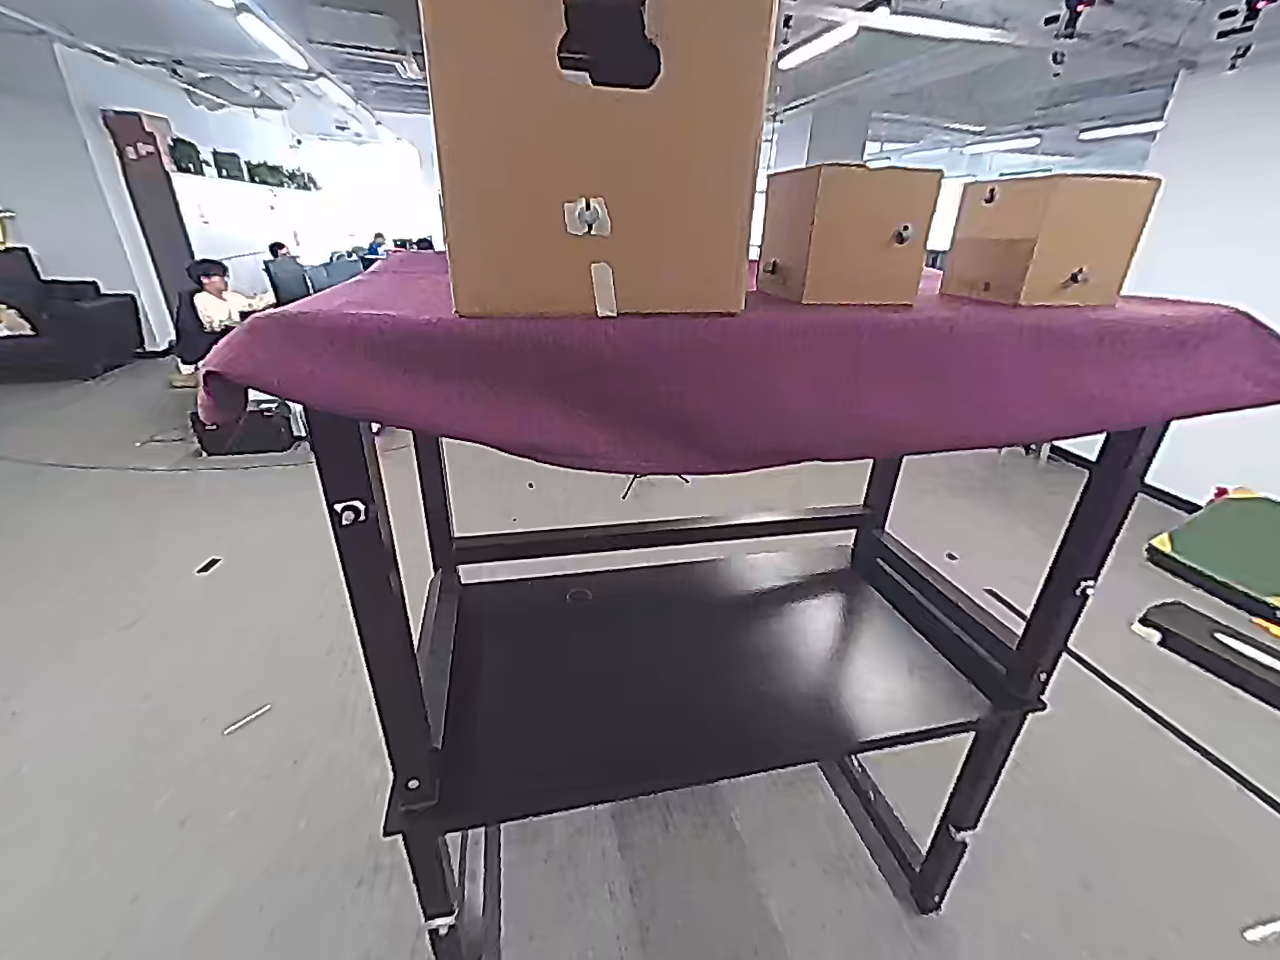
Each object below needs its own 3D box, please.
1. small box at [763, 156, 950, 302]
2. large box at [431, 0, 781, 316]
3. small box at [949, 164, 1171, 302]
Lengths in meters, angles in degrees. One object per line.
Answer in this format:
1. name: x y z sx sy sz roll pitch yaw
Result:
1. small box: 0.291 -0.351 0.768 0.179 0.176 0.168 -4 25 -10
2. large box: -0.067 -0.389 0.671 0.320 0.320 0.408 -4 25 -13
3. small box: 0.605 -0.363 0.806 0.179 0.176 0.168 -3 25 -10
